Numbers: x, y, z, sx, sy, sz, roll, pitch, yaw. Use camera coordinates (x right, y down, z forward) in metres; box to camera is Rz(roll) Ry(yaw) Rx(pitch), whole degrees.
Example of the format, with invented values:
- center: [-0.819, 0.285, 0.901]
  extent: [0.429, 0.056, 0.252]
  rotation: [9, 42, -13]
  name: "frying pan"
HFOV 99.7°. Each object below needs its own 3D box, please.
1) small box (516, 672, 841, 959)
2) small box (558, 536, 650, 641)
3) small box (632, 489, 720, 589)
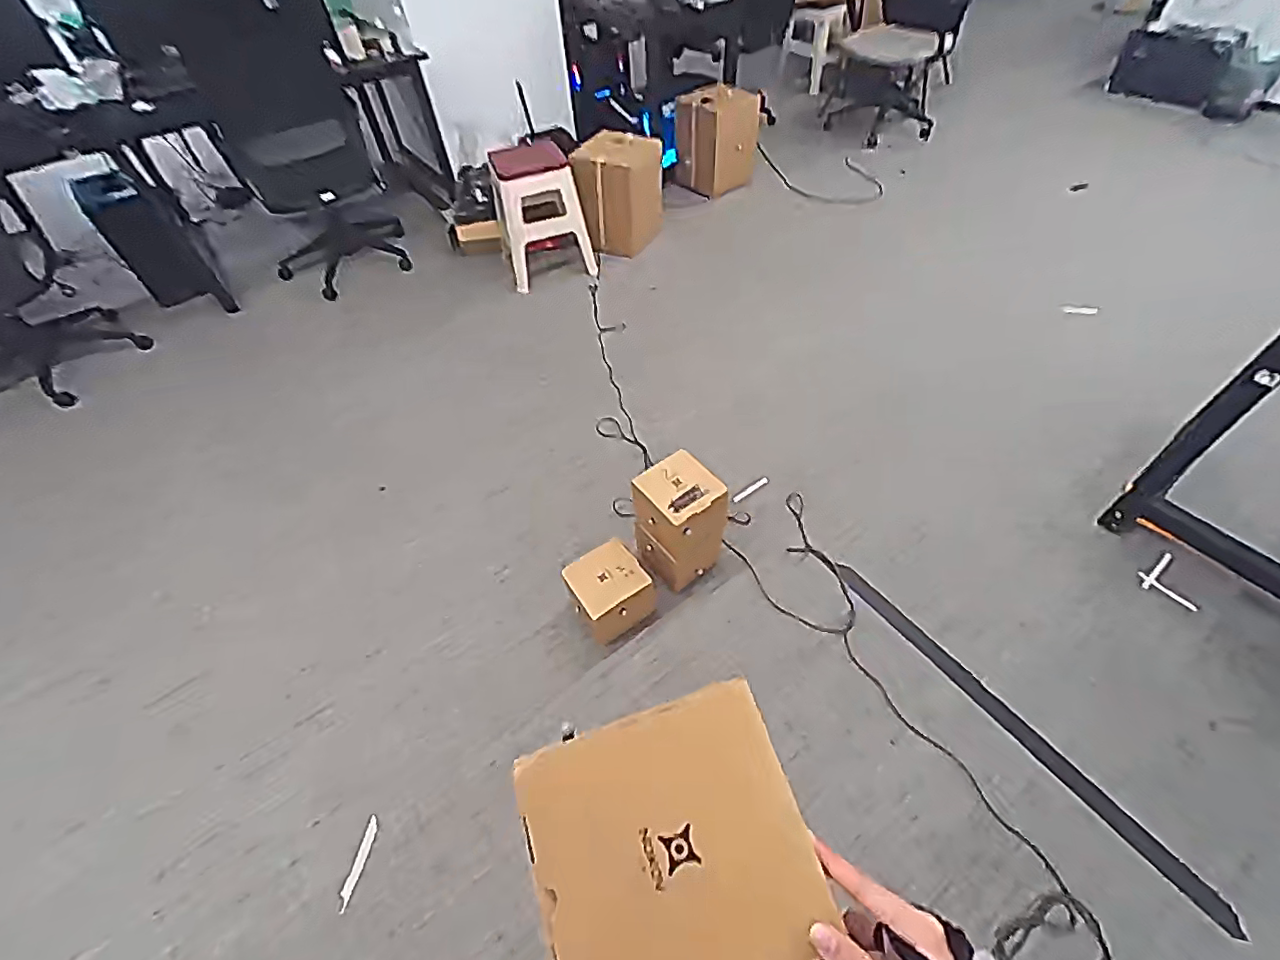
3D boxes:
- center: [0.019, 0.263, 0.426]
  extent: [0.179, 0.176, 0.168]
  rotation: [-17, 68, -7]
  name: "small box"
- center: [-0.087, 0.285, 1.400]
  extent: [0.179, 0.176, 0.168]
  rotation: [-30, 56, -18]
  name: "small box"
- center: [0.096, 0.164, 1.482]
  extent: [0.168, 0.176, 0.179]
  rotation: [-33, 58, -20]
  name: "small box"
